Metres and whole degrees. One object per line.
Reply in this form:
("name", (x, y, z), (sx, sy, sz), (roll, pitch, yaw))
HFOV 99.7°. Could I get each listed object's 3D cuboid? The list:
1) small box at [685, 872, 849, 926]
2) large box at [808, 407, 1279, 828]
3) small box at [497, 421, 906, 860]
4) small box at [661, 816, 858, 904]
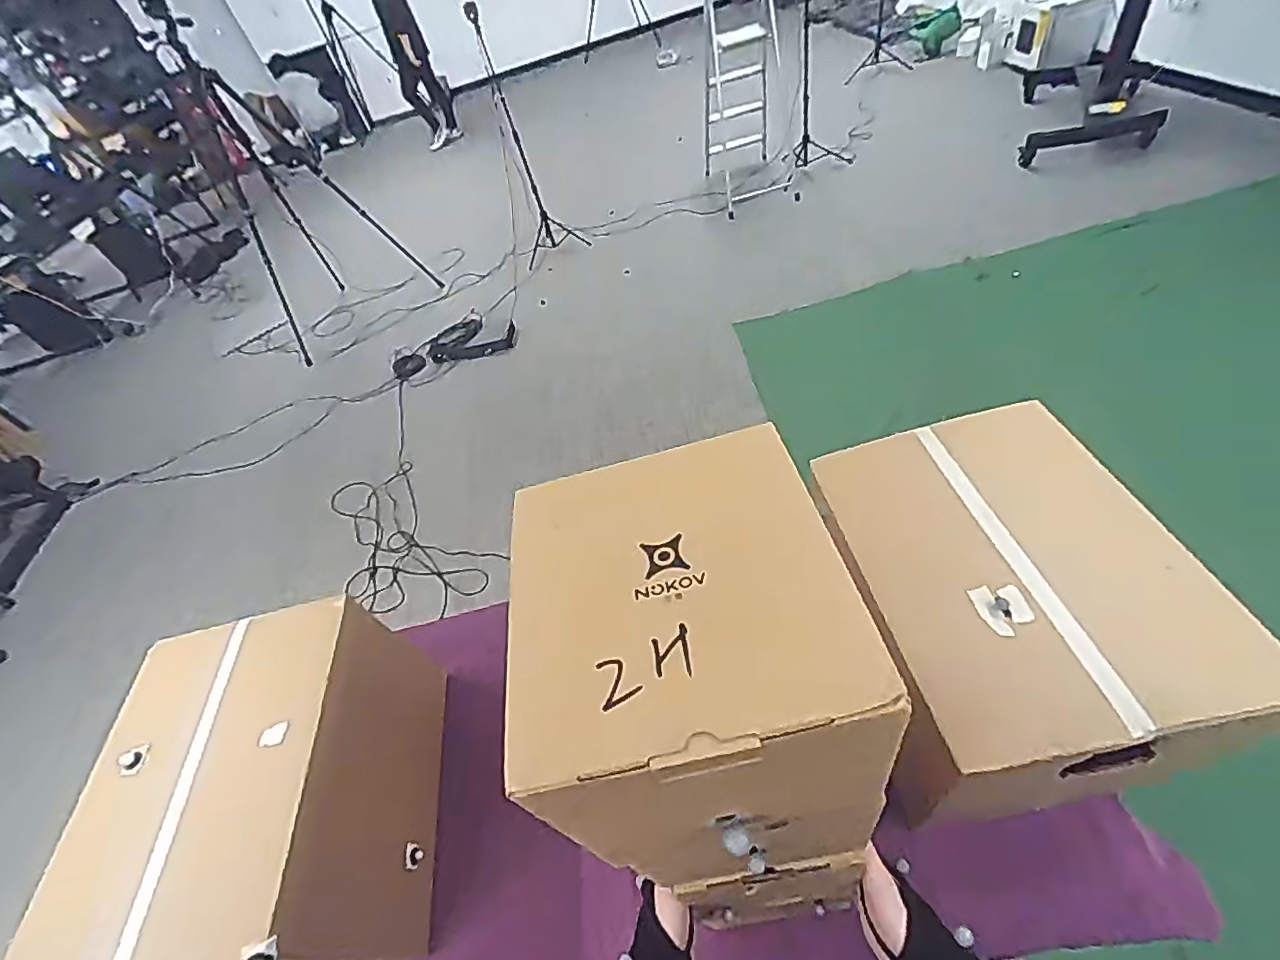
("small box", (0.142, 0.432, 0.671), (0.179, 0.176, 0.168), (-13, 46, 4))
("large box", (0.438, 0.176, 0.710), (0.320, 0.320, 0.408), (-15, 48, 5))
("small box", (0.029, 0.097, 0.324), (0.168, 0.176, 0.179), (-15, 46, 4))
("small box", (0.109, 0.316, 0.557), (0.168, 0.176, 0.179), (-13, 45, 4))
